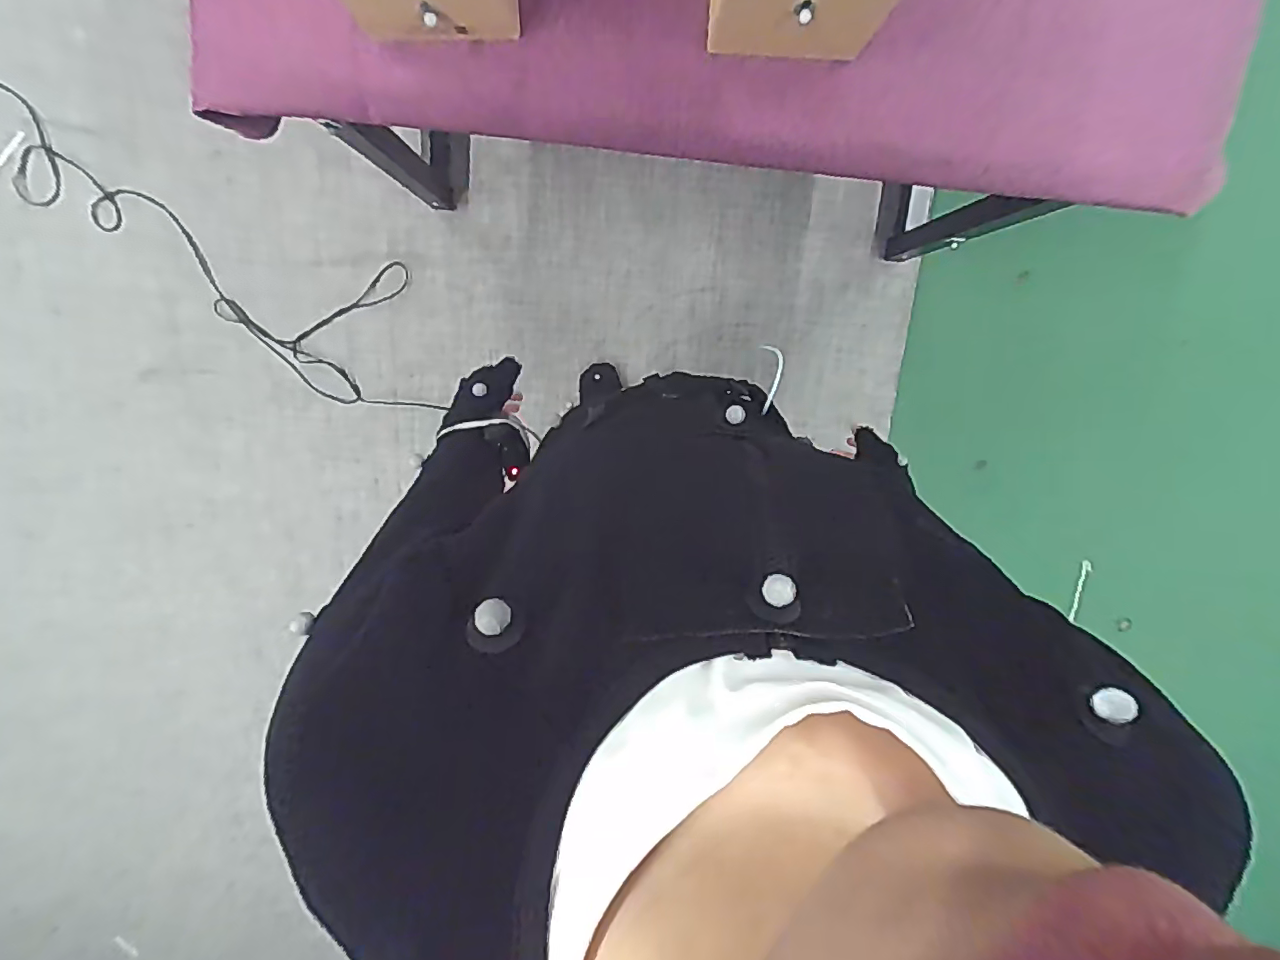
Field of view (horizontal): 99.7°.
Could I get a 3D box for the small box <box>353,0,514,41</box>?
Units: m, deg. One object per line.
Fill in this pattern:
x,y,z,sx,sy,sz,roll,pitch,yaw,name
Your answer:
-0.220,-0.568,0.516,0.168,0.176,0.179,-1,103,-2,small box
